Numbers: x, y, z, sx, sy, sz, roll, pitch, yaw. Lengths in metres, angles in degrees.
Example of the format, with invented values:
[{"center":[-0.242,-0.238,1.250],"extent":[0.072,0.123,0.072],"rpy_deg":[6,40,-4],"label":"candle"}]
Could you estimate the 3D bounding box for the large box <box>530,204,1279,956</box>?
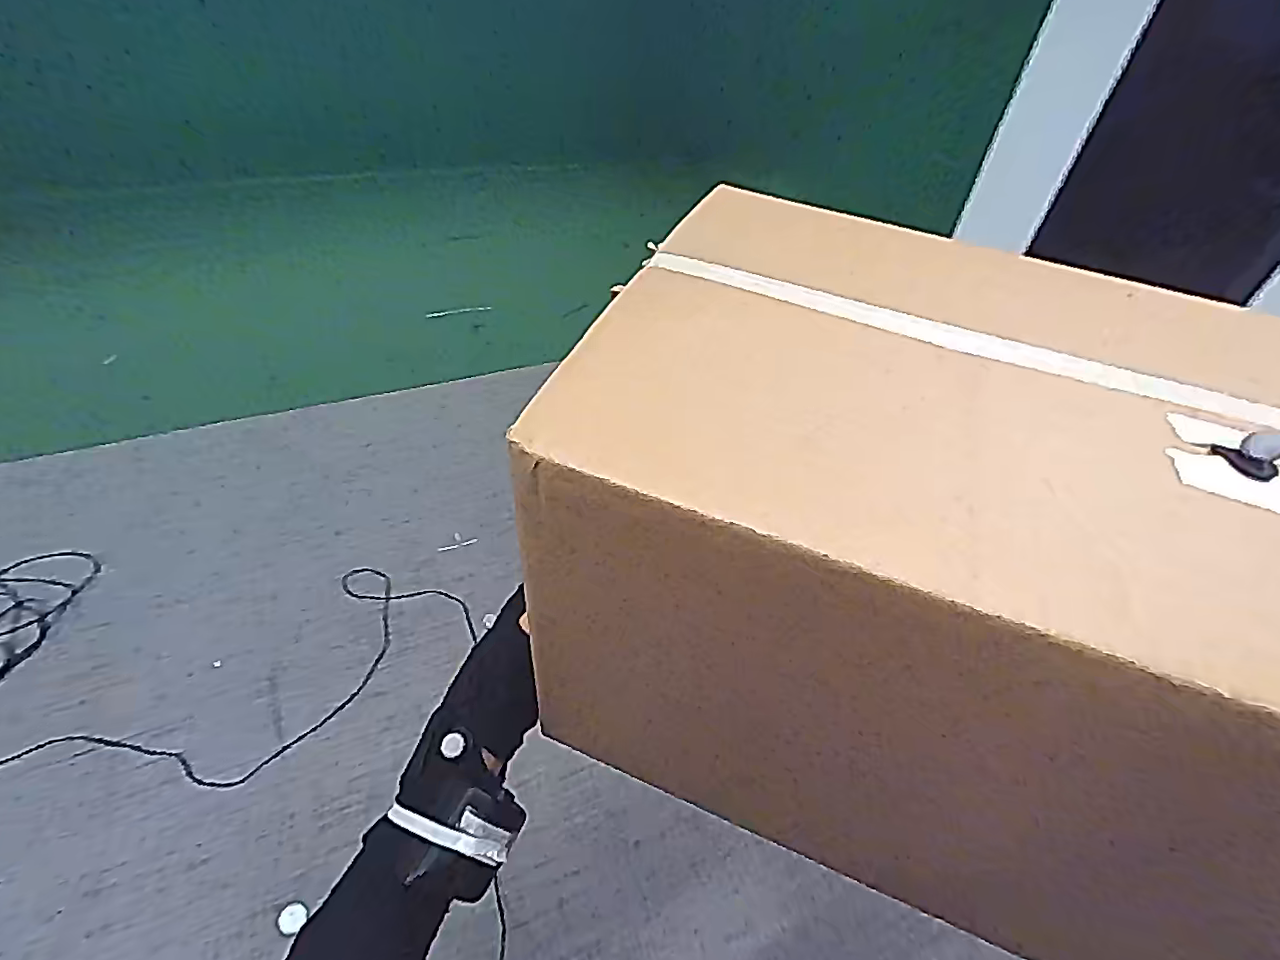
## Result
[{"center":[0.173,0.053,0.383],"extent":[0.408,0.320,0.320],"rpy_deg":[19,48,10],"label":"large box"}]
